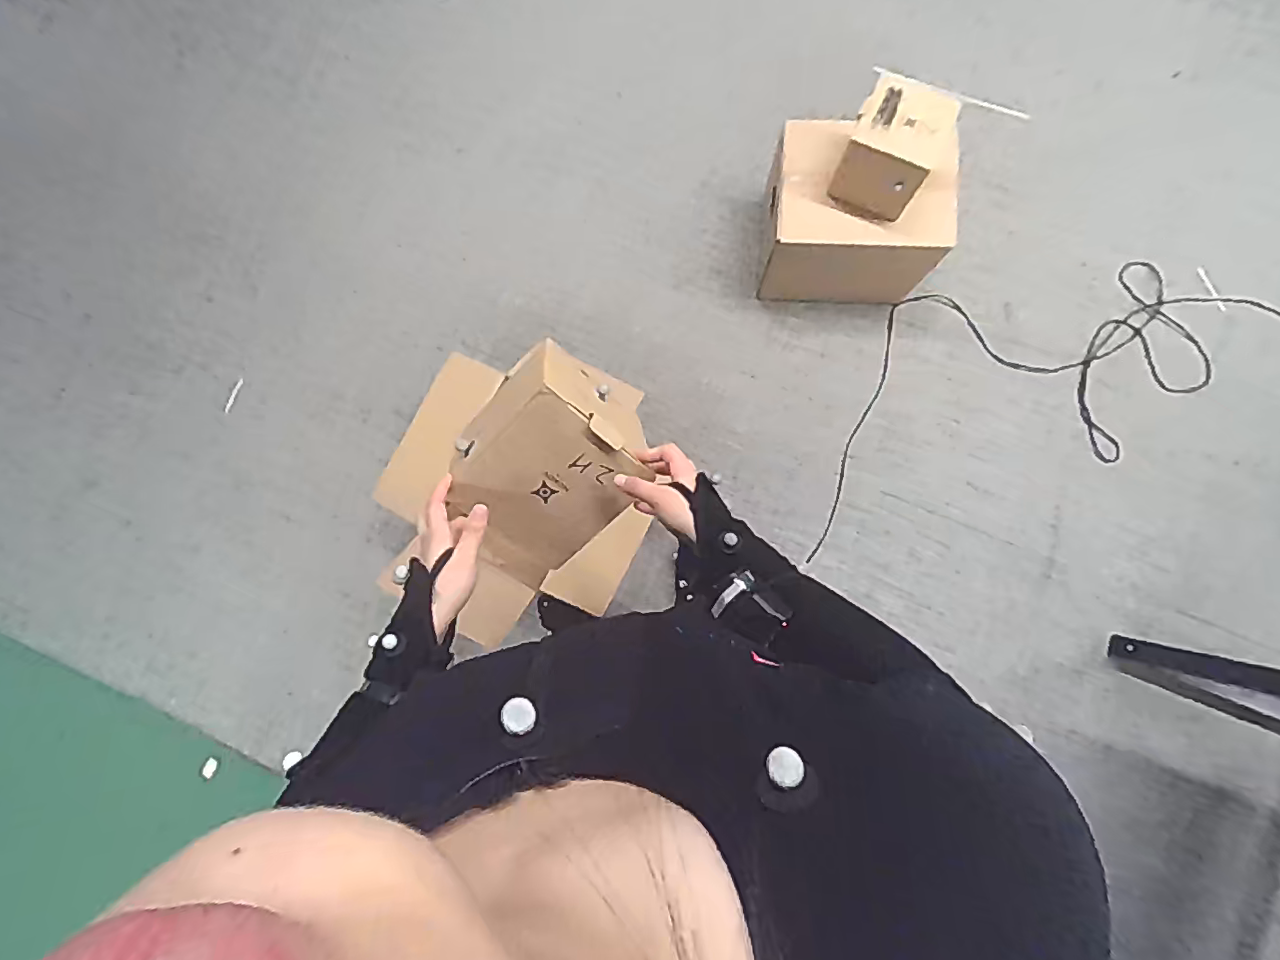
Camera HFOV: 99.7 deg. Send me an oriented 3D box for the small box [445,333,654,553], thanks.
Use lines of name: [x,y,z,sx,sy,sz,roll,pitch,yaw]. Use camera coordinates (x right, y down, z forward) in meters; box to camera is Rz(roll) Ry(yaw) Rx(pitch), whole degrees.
small box: [-0.107,-0.051,0.669,0.179,0.176,0.168,-43,116,15]
